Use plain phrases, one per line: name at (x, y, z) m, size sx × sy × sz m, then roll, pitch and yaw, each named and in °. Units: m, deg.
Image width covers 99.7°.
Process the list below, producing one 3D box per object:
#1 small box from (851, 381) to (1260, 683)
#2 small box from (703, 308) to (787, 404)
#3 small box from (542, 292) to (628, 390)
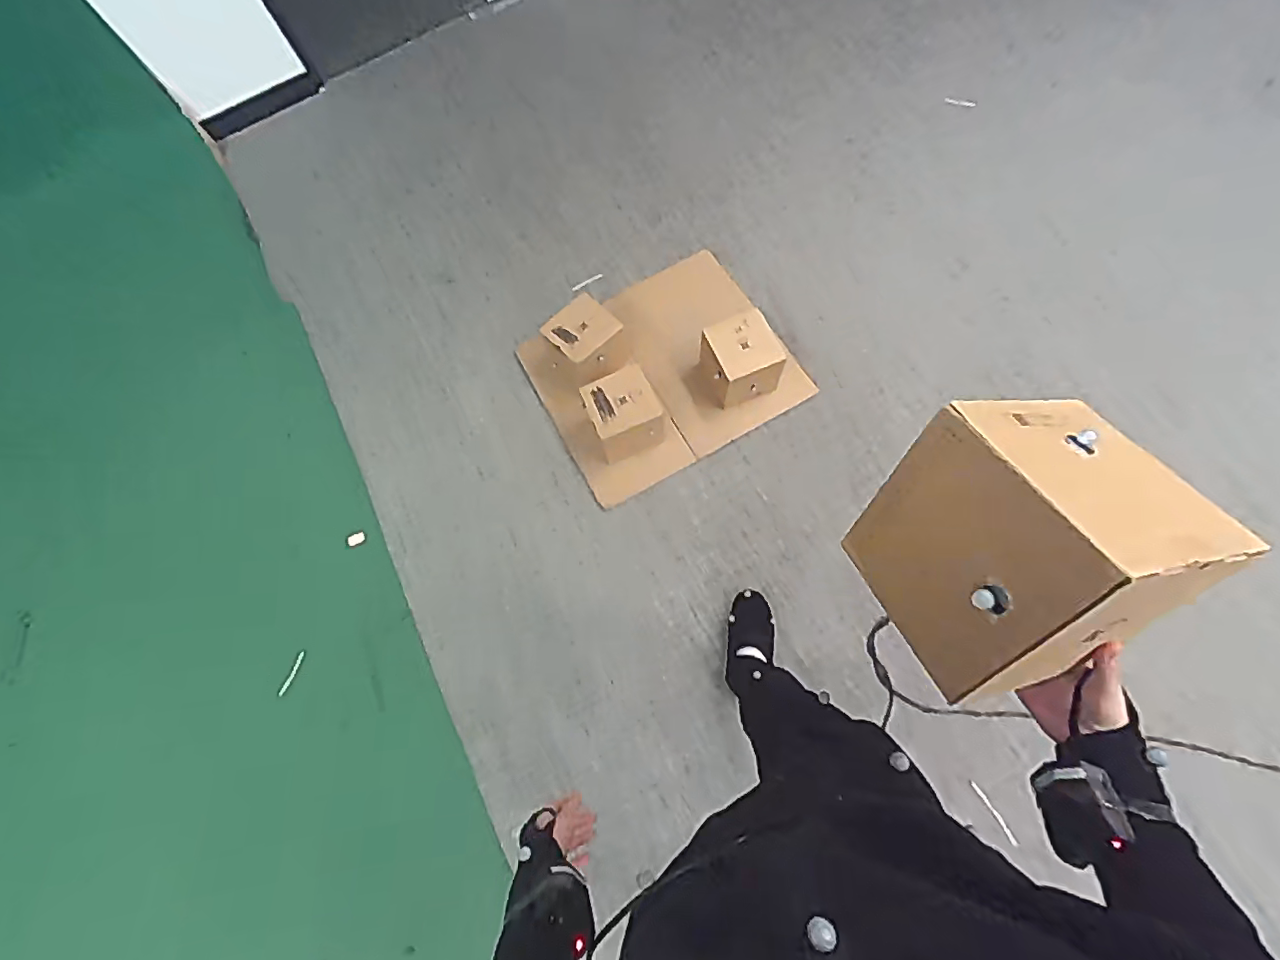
small box at (0.309, 0.040, 0.450) m, size 0.168 × 0.179 × 0.176 m, roll -3°, pitch 46°, yaw -22°
small box at (0.280, -0.329, 1.481) m, size 0.168 × 0.176 × 0.179 m, roll -21°, pitch 70°, yaw -3°
small box at (-0.149, -0.390, 1.548) m, size 0.179 × 0.176 × 0.168 m, roll -42°, pitch 72°, yaw -11°
